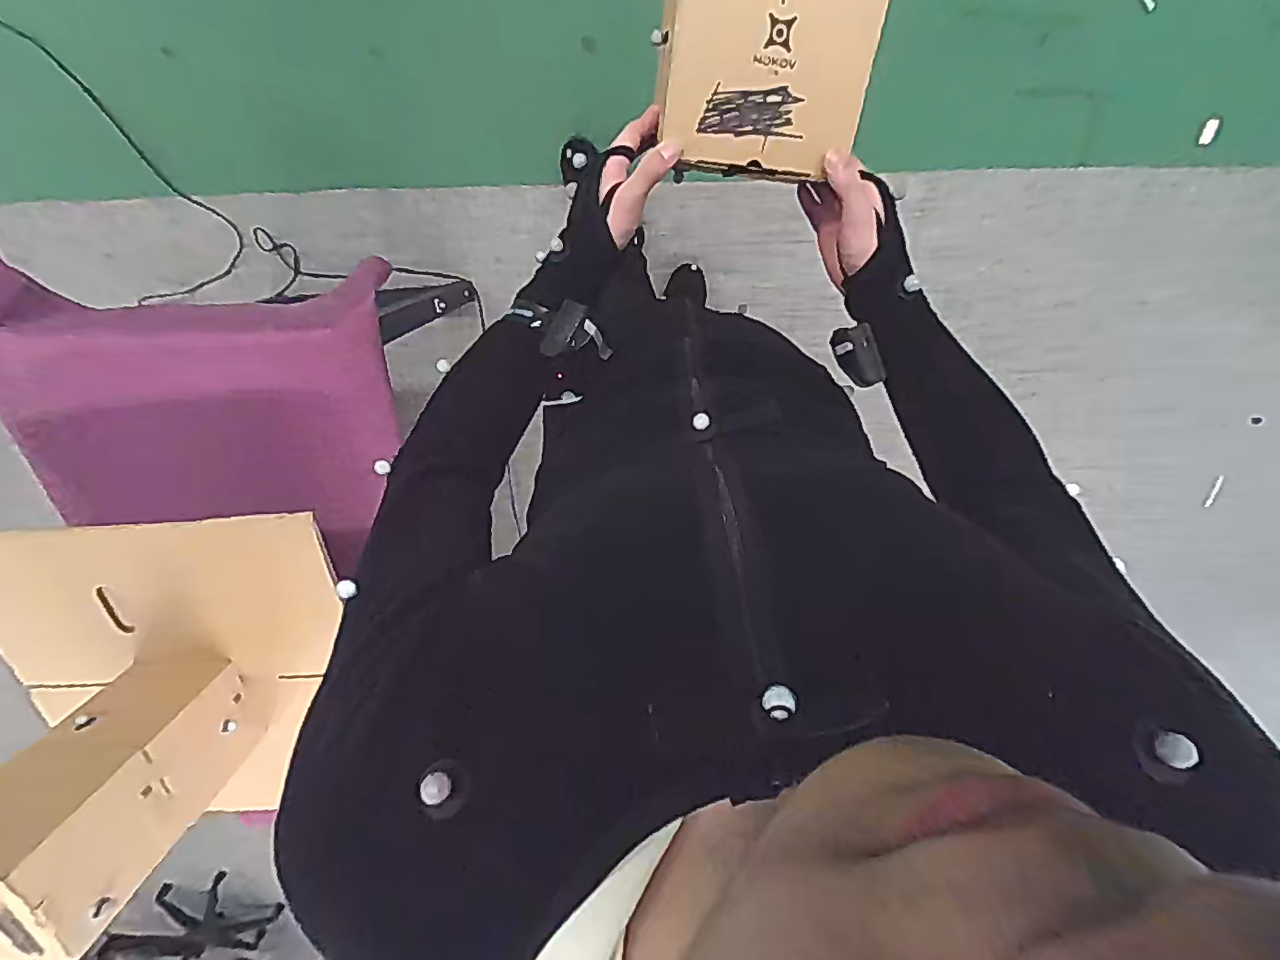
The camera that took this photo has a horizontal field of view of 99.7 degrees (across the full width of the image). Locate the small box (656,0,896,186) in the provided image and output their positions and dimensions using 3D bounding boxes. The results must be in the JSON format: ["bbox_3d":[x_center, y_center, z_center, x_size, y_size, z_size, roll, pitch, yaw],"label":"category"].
[{"bbox_3d":[0.109,-0.381,0.501,0.168,0.176,0.179,4,117,-6],"label":"small box"}]

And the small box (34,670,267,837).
[{"bbox_3d":[-0.734,0.414,0.835,0.179,0.176,0.168,-3,114,3],"label":"small box"}]
